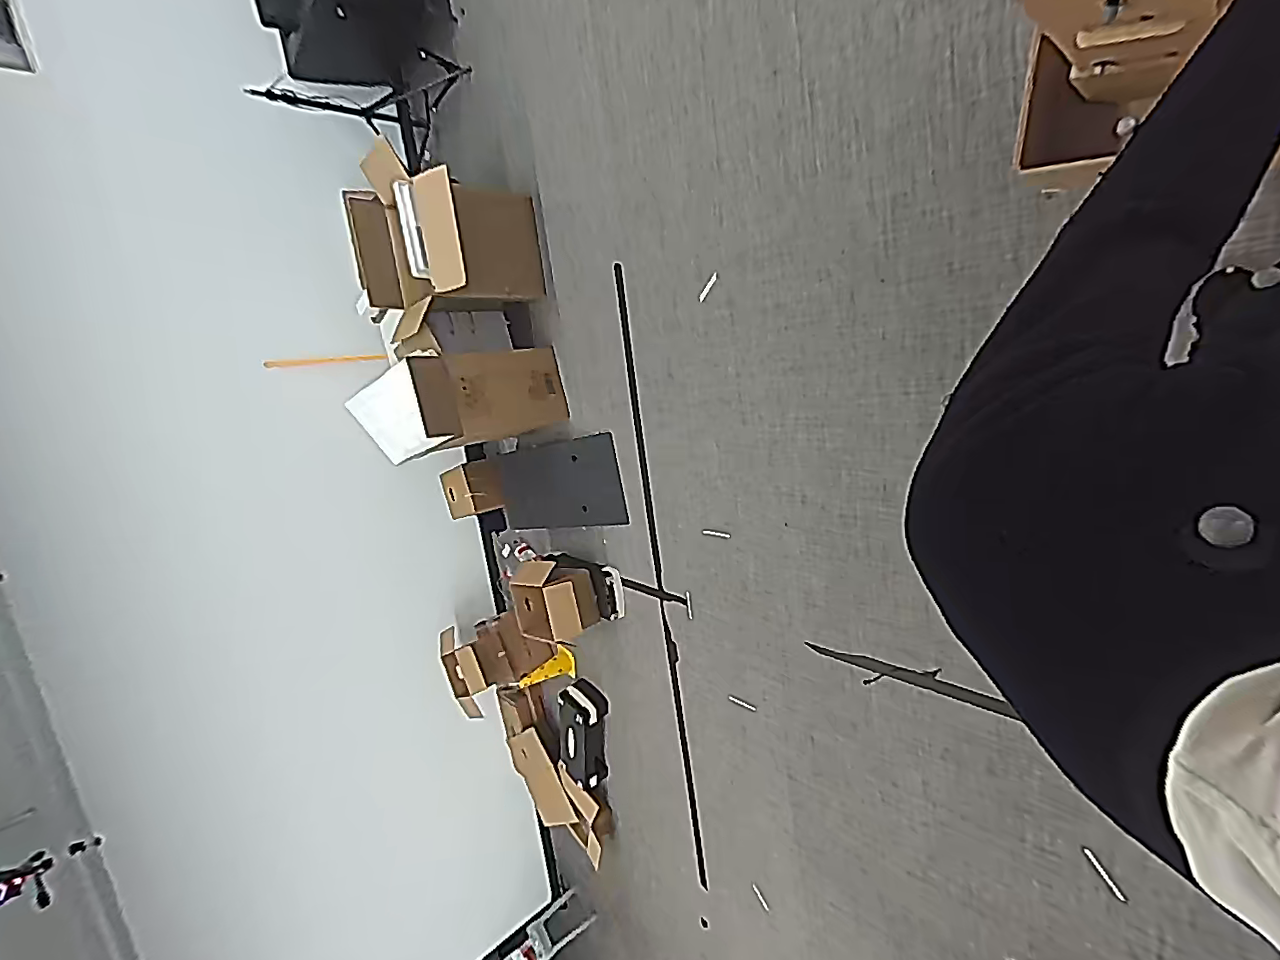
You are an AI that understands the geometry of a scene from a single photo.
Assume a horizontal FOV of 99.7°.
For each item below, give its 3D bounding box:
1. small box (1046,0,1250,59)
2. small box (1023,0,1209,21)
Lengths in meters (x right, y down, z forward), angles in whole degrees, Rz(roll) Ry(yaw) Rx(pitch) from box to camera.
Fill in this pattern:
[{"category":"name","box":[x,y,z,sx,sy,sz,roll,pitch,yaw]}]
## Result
[{"category":"small box","box":[0.627,-0.630,0.639,0.168,0.176,0.179,27,121,42]},{"category":"small box","box":[0.505,-0.590,0.536,0.168,0.176,0.179,31,125,40]}]
